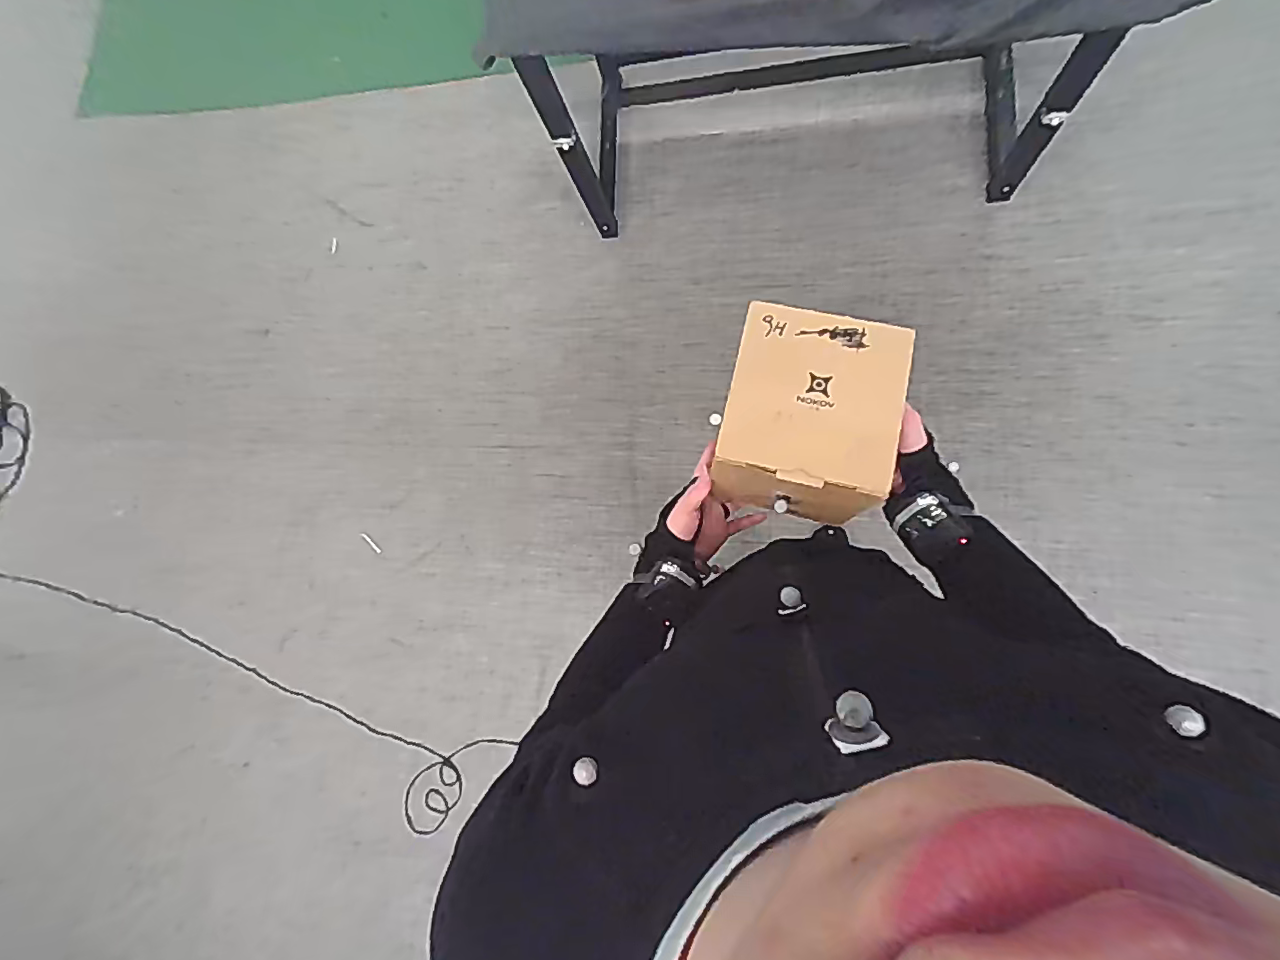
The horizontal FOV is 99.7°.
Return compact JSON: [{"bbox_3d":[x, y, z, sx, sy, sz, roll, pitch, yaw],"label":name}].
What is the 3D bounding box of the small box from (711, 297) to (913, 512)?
[{"bbox_3d":[0.177,-0.071,0.605,0.168,0.176,0.179,13,79,7],"label":"small box"}]
